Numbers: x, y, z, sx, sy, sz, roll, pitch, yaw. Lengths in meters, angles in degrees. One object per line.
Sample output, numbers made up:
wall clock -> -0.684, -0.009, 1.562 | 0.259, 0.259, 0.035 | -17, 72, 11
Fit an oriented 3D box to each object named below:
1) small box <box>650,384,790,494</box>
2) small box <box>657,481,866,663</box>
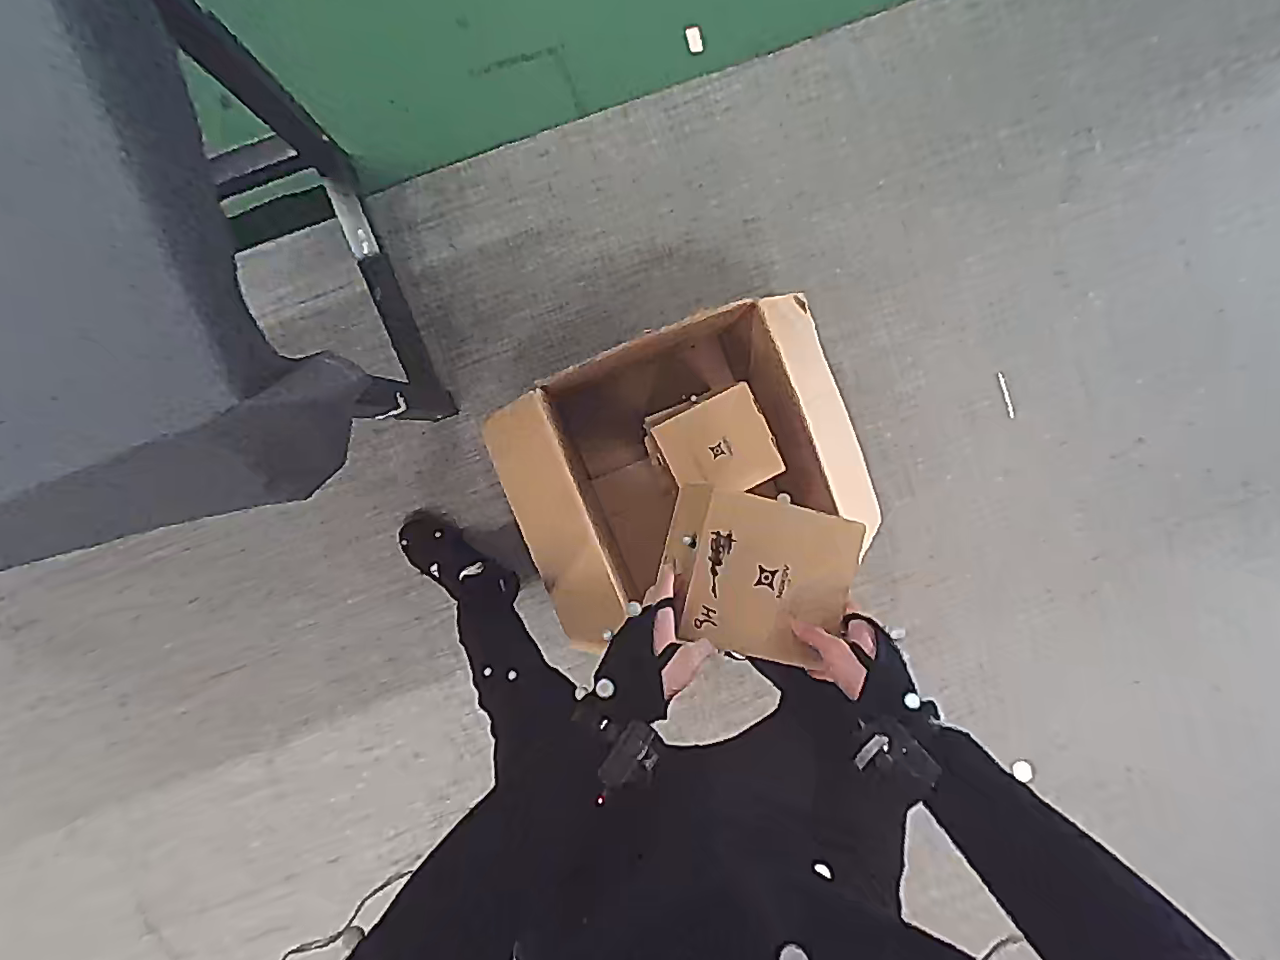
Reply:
small box -> 0.131, -0.059, 0.951 | 0.179, 0.176, 0.168 | -26, 99, 0
small box -> 0.132, 0.097, 0.648 | 0.179, 0.176, 0.168 | 14, 89, -7
